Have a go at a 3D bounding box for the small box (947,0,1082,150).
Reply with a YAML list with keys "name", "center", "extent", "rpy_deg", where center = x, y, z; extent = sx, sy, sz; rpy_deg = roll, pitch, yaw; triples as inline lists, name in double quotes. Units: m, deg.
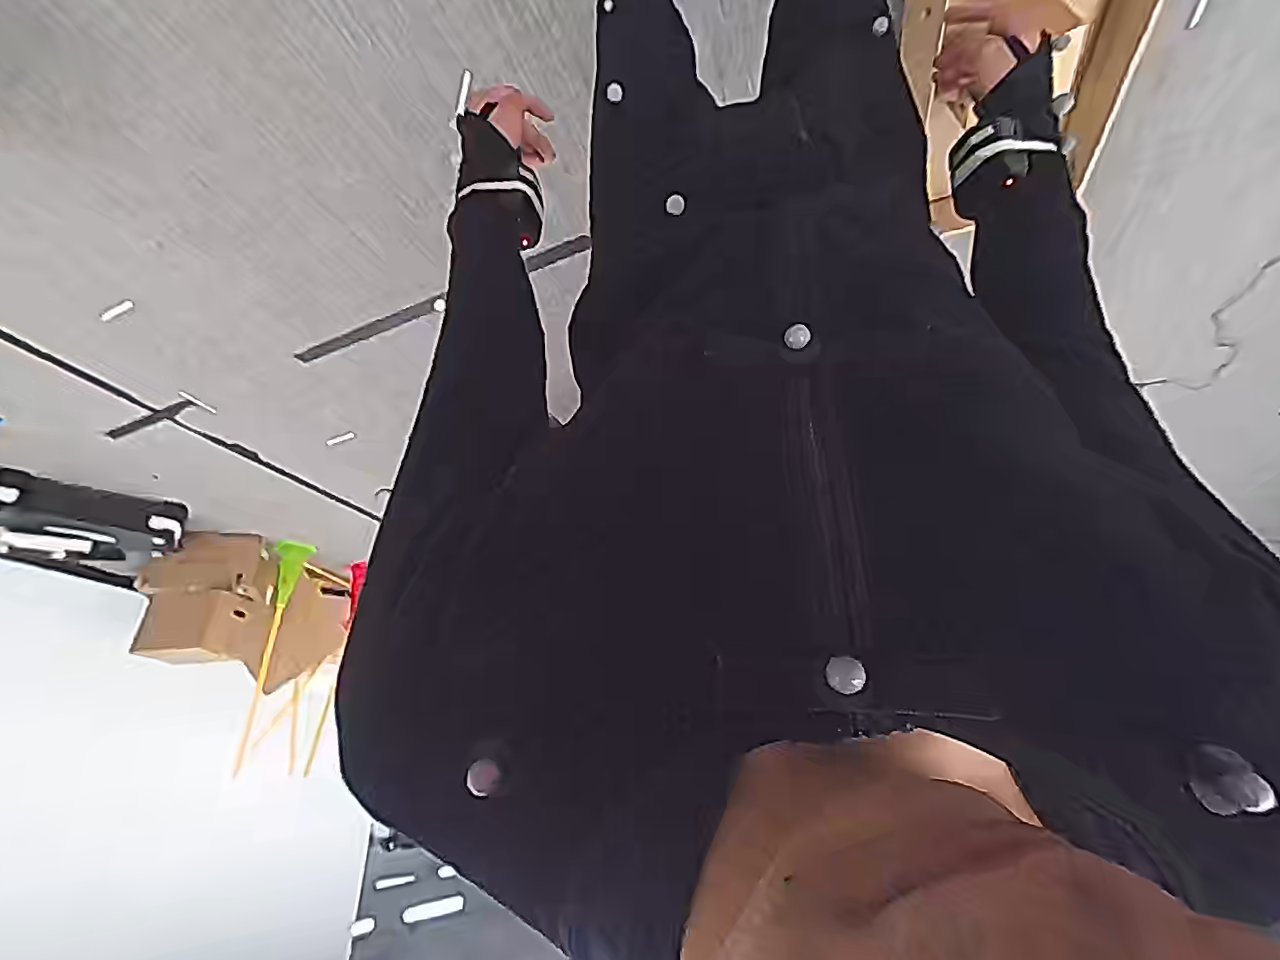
- name: "small box"
  center: [0.768, -0.846, 1.134]
  extent: [0.179, 0.176, 0.168]
  rpy_deg: [-14, 149, 17]
